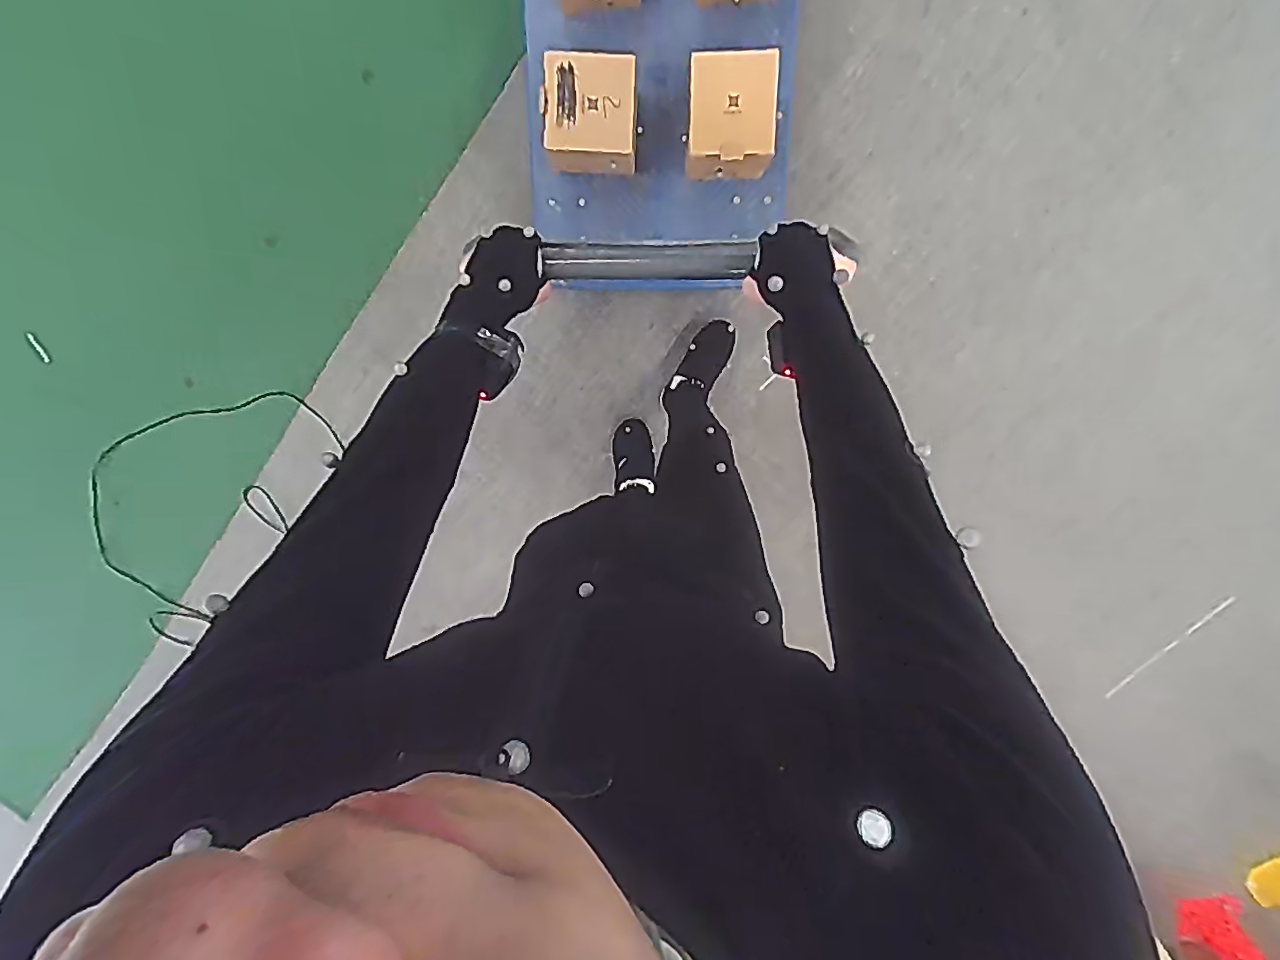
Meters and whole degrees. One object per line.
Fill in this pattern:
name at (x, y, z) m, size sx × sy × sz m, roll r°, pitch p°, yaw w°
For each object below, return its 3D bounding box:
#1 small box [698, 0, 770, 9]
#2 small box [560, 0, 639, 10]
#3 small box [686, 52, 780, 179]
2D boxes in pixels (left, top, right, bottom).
small box at (0.188, -1.038, 1.012) m, size 0.168 × 0.176 × 0.179 m, roll -4°, pitch 107°, yaw 3°
small box at (-0.087, -1.031, 1.022) m, size 0.168 × 0.176 × 0.179 m, roll -4°, pitch 107°, yaw 2°
small box at (0.181, -0.734, 1.104) m, size 0.168 × 0.176 × 0.179 m, roll 0°, pitch 107°, yaw 2°
